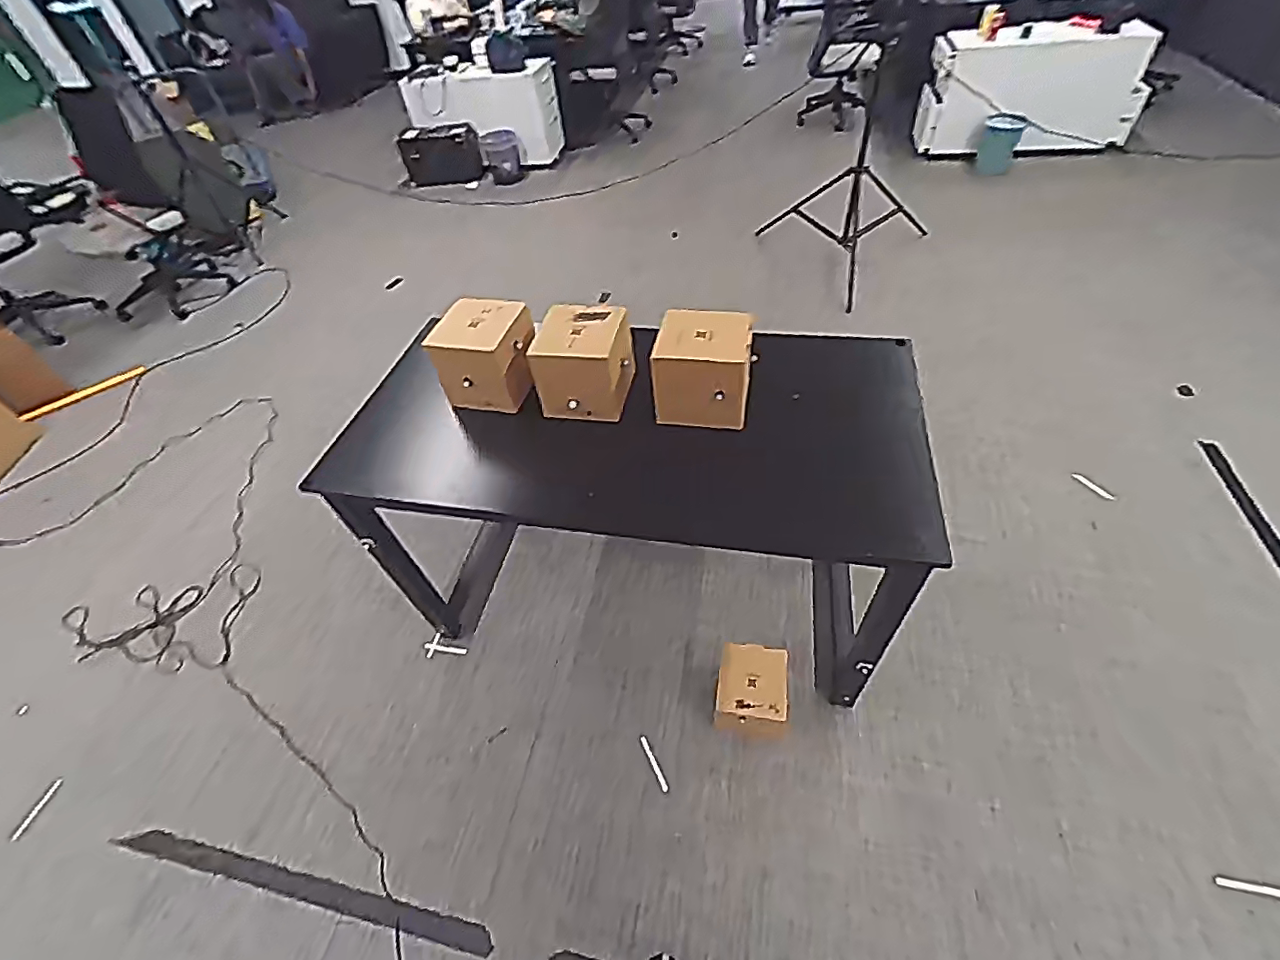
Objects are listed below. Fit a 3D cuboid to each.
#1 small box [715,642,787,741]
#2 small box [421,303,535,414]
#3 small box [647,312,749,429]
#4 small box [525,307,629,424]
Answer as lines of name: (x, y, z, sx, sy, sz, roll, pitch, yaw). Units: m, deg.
small box: (0.281, 0.540, 1.379, 0.168, 0.176, 0.179, 4, 49, 12)
small box: (-0.339, -0.265, 1.189, 0.168, 0.176, 0.179, 8, 50, 13)
small box: (0.122, -0.218, 1.092, 0.179, 0.176, 0.168, 5, 49, 12)
small box: (-0.121, -0.241, 1.139, 0.168, 0.176, 0.179, 5, 51, 11)
